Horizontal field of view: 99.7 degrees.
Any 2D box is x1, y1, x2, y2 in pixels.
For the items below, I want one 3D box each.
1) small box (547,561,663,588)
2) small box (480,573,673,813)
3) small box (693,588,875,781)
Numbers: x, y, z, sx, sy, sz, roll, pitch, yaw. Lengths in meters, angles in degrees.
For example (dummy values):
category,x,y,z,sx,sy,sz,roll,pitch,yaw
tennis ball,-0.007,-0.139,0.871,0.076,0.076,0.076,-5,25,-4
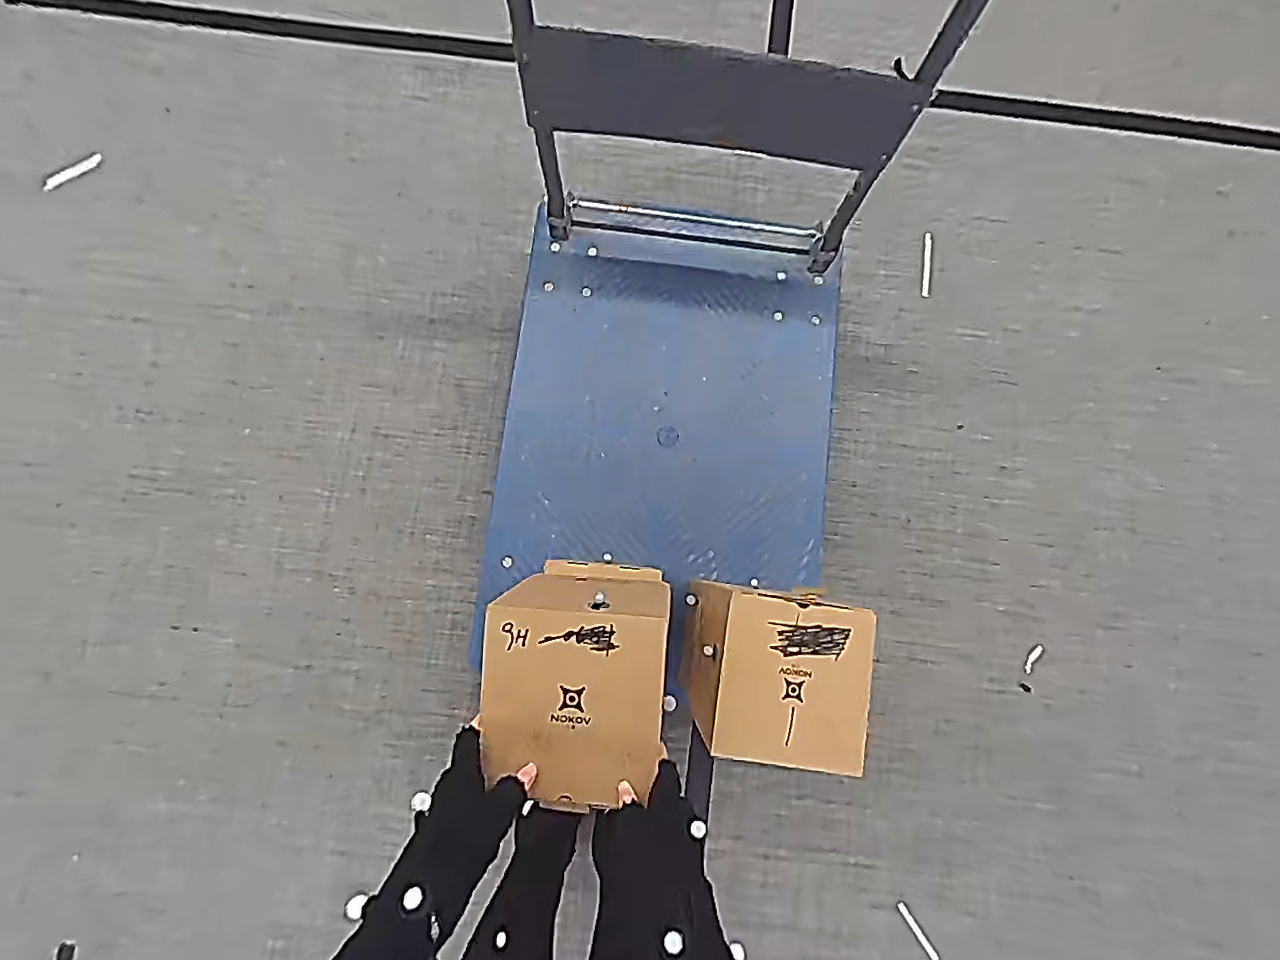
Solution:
category,x,y,z,sx,sy,sz,roll,pitch,yaw
small box,-0.059,0.220,0.822,0.168,0.176,0.179,6,81,-2
small box,-0.054,0.205,0.568,0.168,0.176,0.179,4,91,4
small box,0.164,0.233,0.662,0.168,0.176,0.179,9,82,-1
